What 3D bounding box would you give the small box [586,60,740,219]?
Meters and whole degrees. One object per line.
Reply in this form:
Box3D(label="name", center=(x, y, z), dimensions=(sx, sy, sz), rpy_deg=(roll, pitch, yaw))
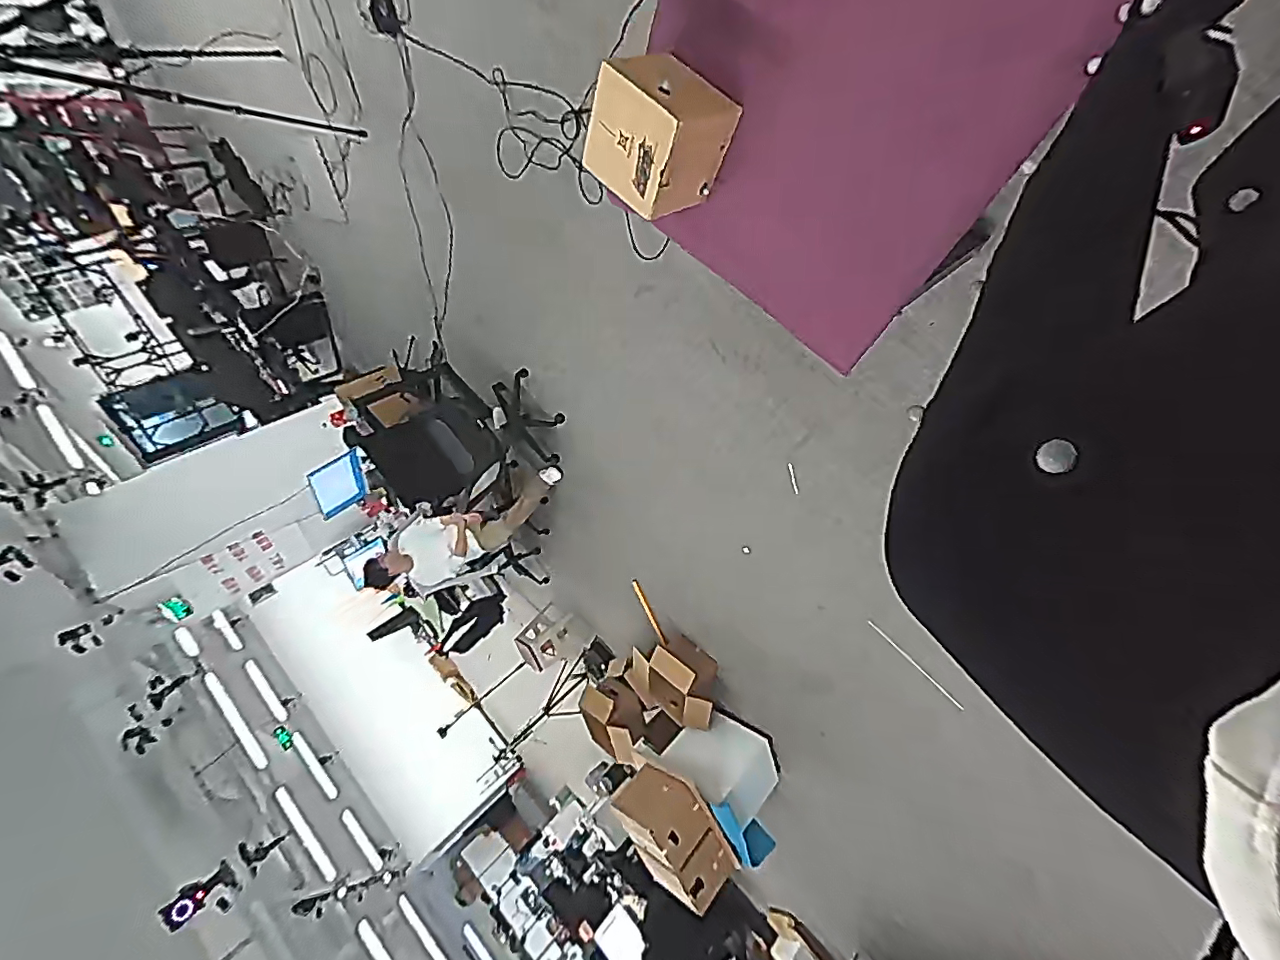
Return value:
Box3D(label="small box", center=(0.039, -0.588, 0.927), dimensions=(0.179, 0.176, 0.168), rpy_deg=(46, 145, 13))
